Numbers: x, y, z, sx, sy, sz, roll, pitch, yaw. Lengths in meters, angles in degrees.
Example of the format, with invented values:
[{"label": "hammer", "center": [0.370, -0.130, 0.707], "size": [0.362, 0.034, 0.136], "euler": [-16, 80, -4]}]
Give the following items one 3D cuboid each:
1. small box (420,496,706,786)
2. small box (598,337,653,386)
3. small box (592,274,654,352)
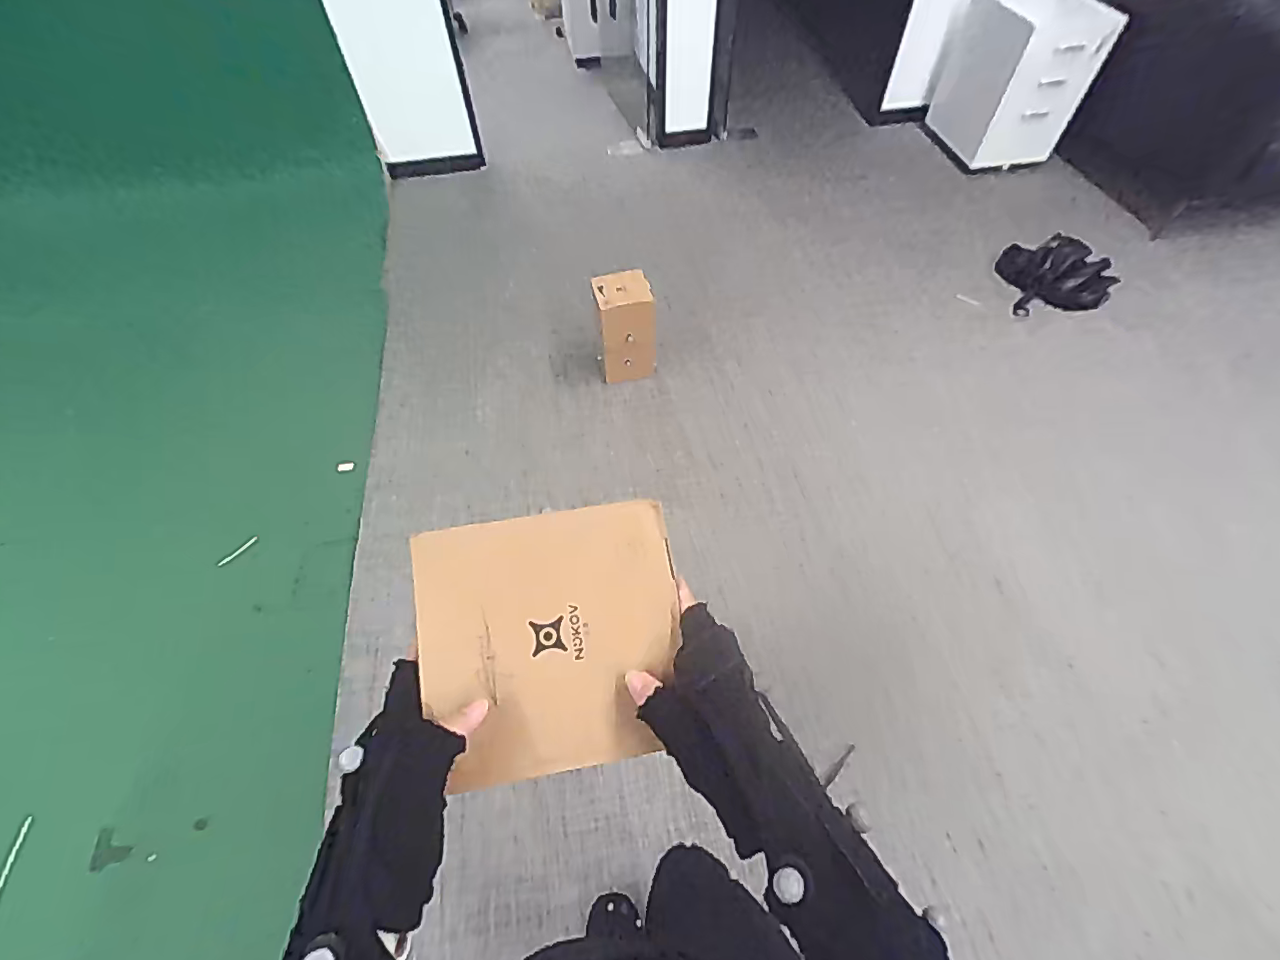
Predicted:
[{"label": "small box", "center": [-0.060, 0.122, 0.441], "size": [0.179, 0.176, 0.168], "euler": [-9, 74, -6]}, {"label": "small box", "center": [-0.052, -0.459, 1.923], "size": [0.179, 0.176, 0.168], "euler": [-10, 56, -5]}, {"label": "small box", "center": [-0.057, -0.548, 1.785], "size": [0.179, 0.176, 0.168], "euler": [-12, 57, -7]}]
